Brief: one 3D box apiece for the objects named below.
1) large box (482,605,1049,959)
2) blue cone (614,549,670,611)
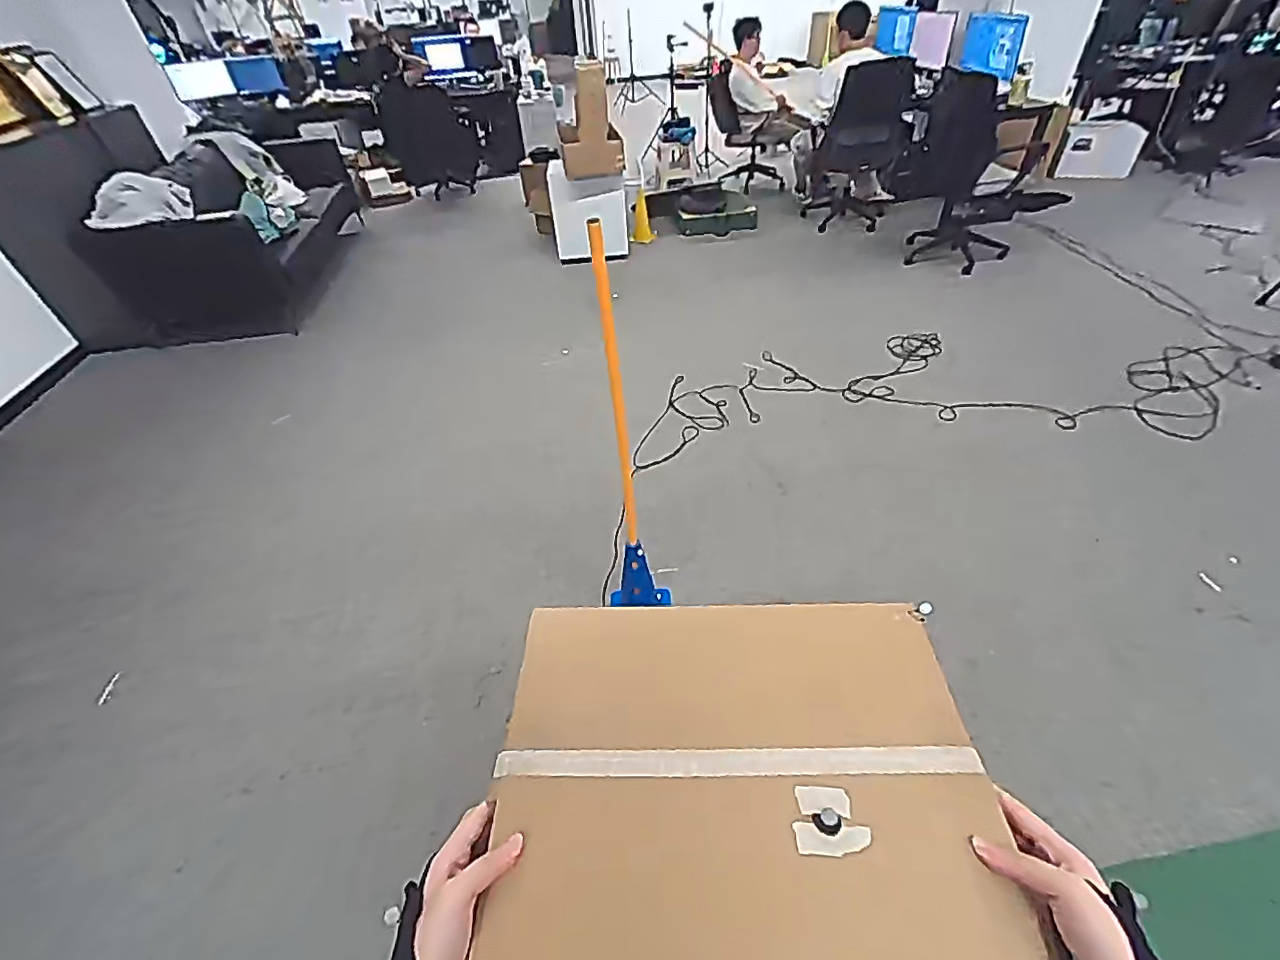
[{"bbox_3d":[0.088,0.353,0.576,0.408,0.320,0.320,-1,44,2],"label":"large box"},{"bbox_3d":[-0.004,0.335,1.631,0.193,0.380,0.192,-2,43,3],"label":"blue cone"}]
